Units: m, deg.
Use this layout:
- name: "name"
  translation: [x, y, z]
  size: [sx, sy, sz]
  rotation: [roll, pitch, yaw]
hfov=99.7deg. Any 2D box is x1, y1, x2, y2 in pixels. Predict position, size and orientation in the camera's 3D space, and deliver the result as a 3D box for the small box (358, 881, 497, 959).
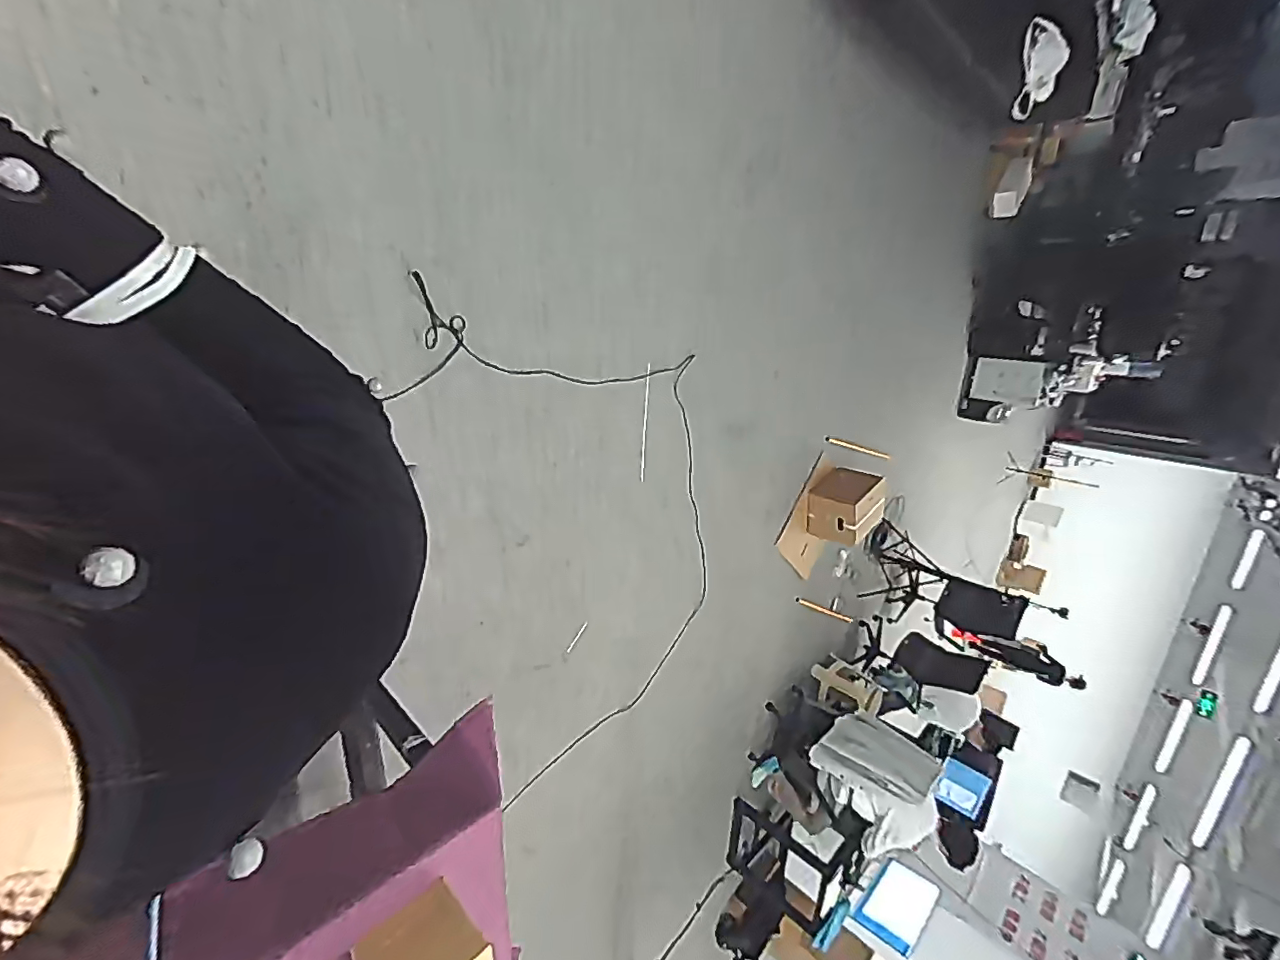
- name: "small box"
  translation: [-0.369, 0.873, 0.953]
  size: [0.179, 0.176, 0.168]
  rotation: [-17, 116, -41]
